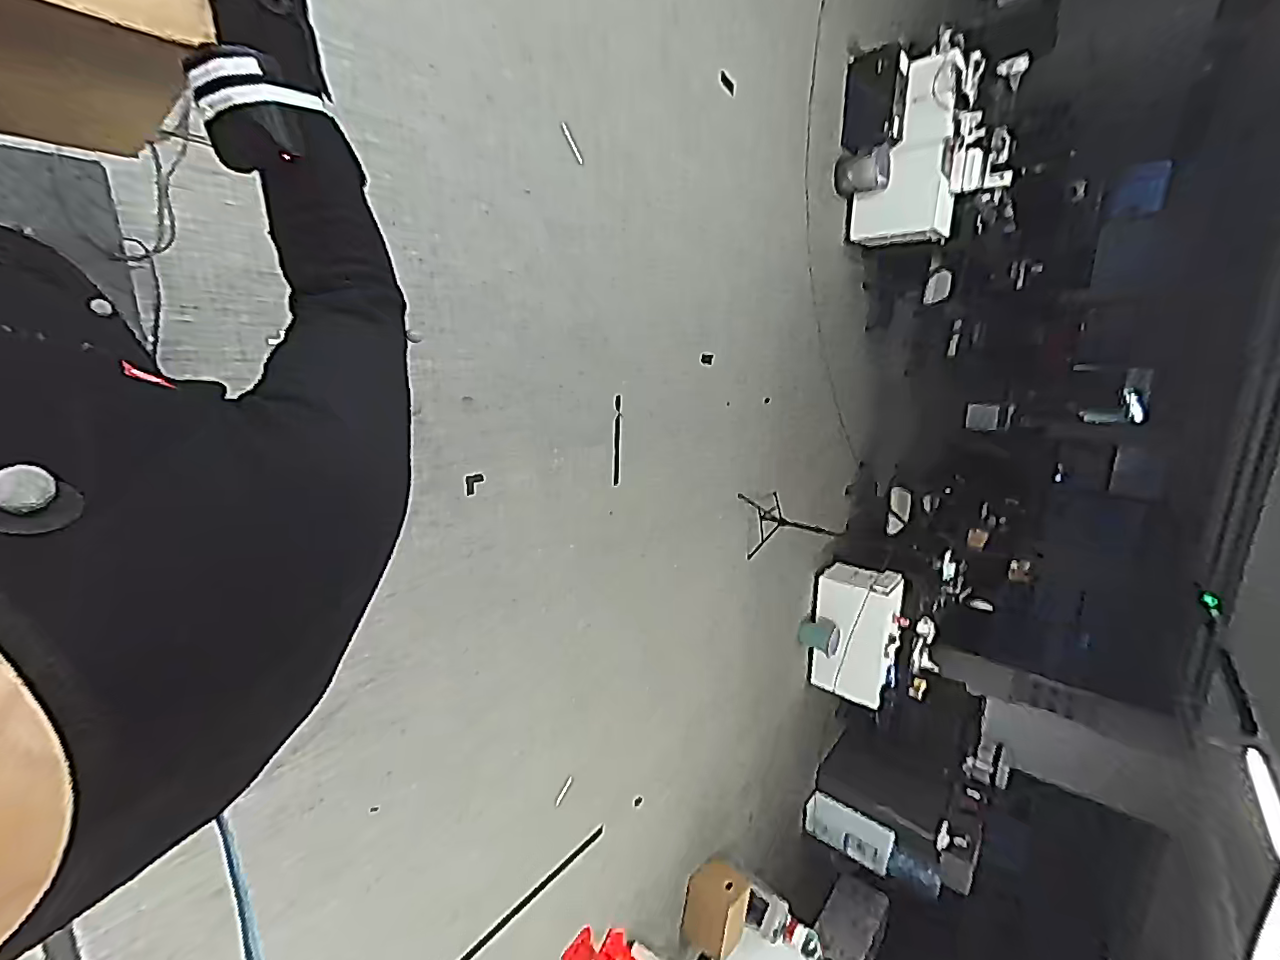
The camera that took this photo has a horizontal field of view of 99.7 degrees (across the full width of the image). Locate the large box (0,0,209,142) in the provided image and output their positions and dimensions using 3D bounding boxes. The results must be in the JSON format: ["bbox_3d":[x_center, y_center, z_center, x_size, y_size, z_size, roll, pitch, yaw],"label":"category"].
[{"bbox_3d":[-0.542,-0.431,0.282,0.408,0.320,0.320,-17,112,-49],"label":"large box"}]
